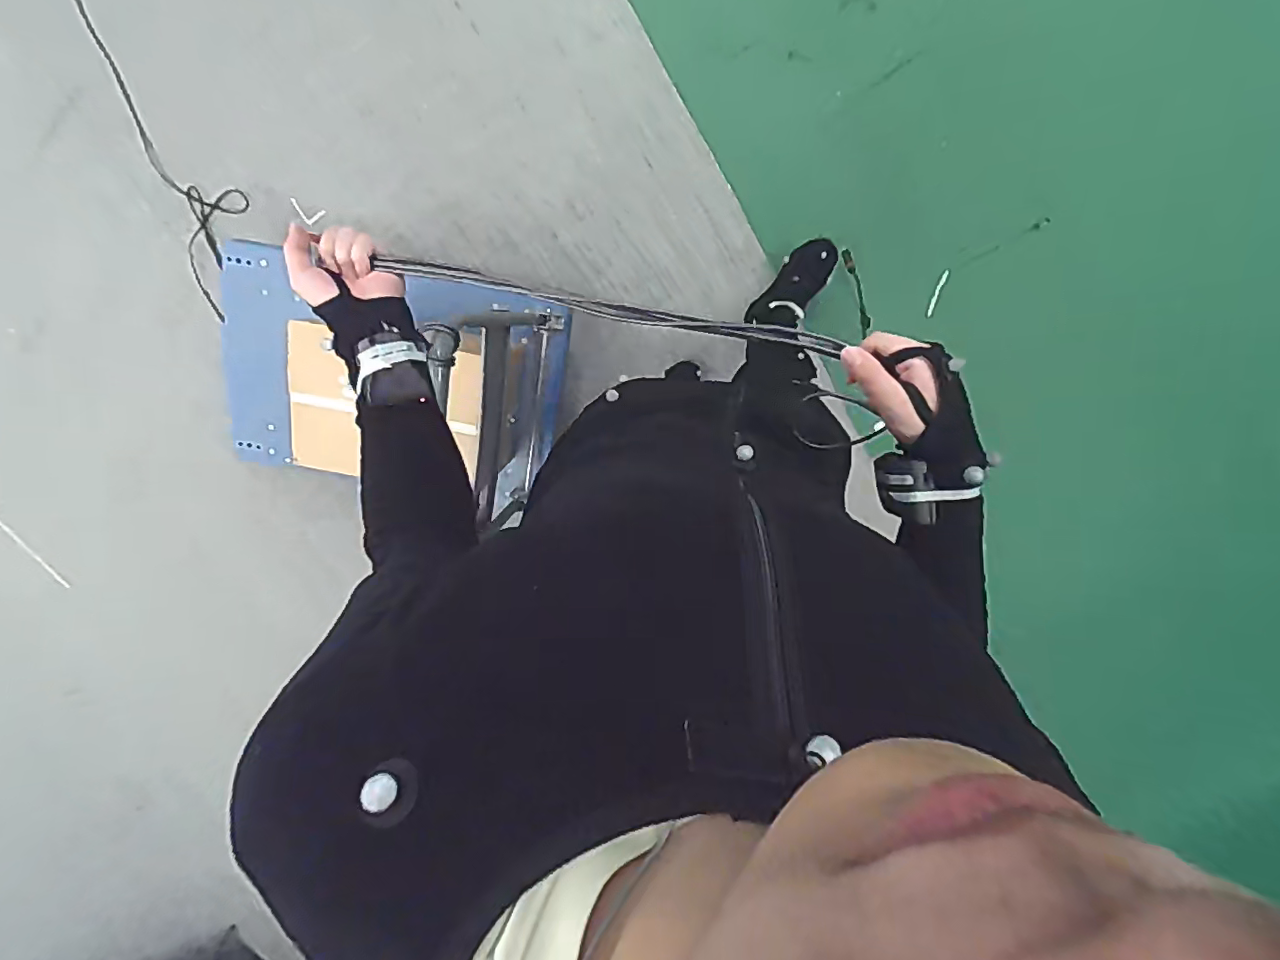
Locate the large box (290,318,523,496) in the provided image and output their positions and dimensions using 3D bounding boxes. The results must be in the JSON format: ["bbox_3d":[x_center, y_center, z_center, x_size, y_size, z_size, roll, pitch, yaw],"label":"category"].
[{"bbox_3d":[-0.514,-0.186,1.259,0.408,0.320,0.320,11,108,0],"label":"large box"}]
